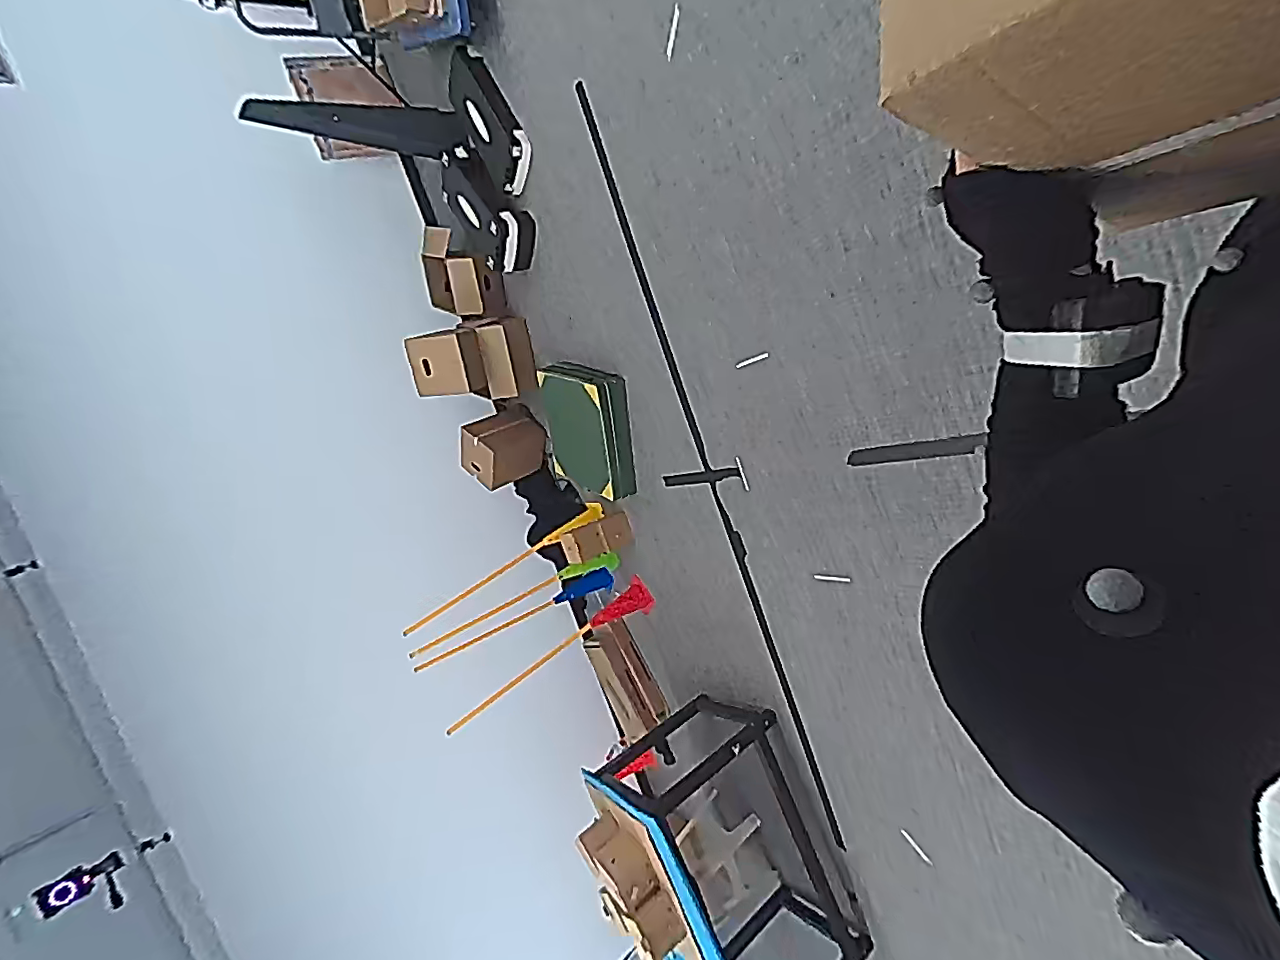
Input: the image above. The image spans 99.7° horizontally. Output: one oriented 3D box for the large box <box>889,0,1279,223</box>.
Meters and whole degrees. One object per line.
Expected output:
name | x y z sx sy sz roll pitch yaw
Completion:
large box | 0.342 -0.327 0.152 0.408 0.320 0.320 5 98 56
